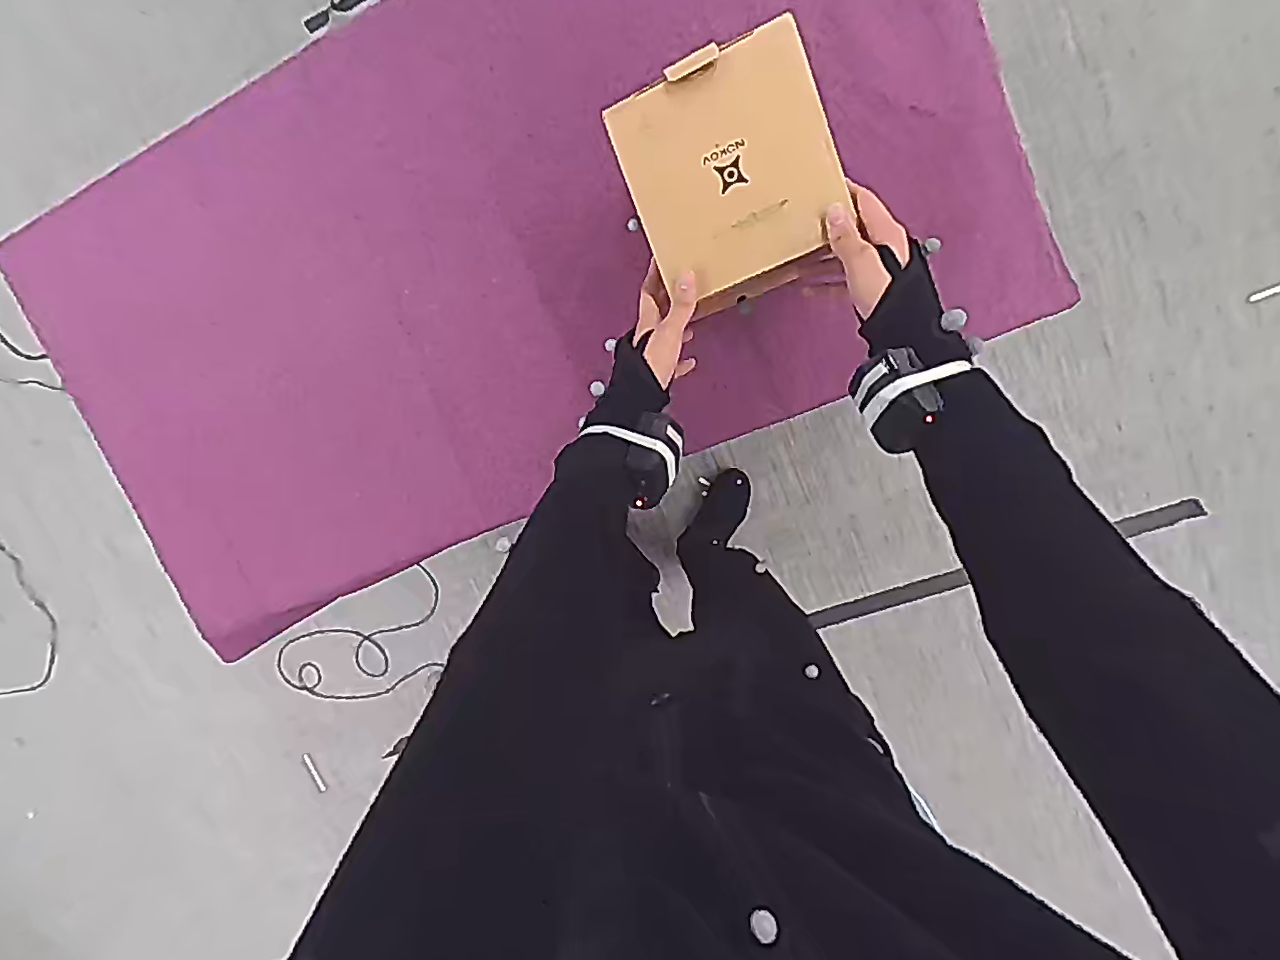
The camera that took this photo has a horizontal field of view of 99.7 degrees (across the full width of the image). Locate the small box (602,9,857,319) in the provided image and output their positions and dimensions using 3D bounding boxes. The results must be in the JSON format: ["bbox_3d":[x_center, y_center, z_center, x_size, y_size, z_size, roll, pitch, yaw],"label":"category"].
[{"bbox_3d":[0.082,-0.270,0.515,0.168,0.176,0.179,-19,98,13],"label":"small box"}]
